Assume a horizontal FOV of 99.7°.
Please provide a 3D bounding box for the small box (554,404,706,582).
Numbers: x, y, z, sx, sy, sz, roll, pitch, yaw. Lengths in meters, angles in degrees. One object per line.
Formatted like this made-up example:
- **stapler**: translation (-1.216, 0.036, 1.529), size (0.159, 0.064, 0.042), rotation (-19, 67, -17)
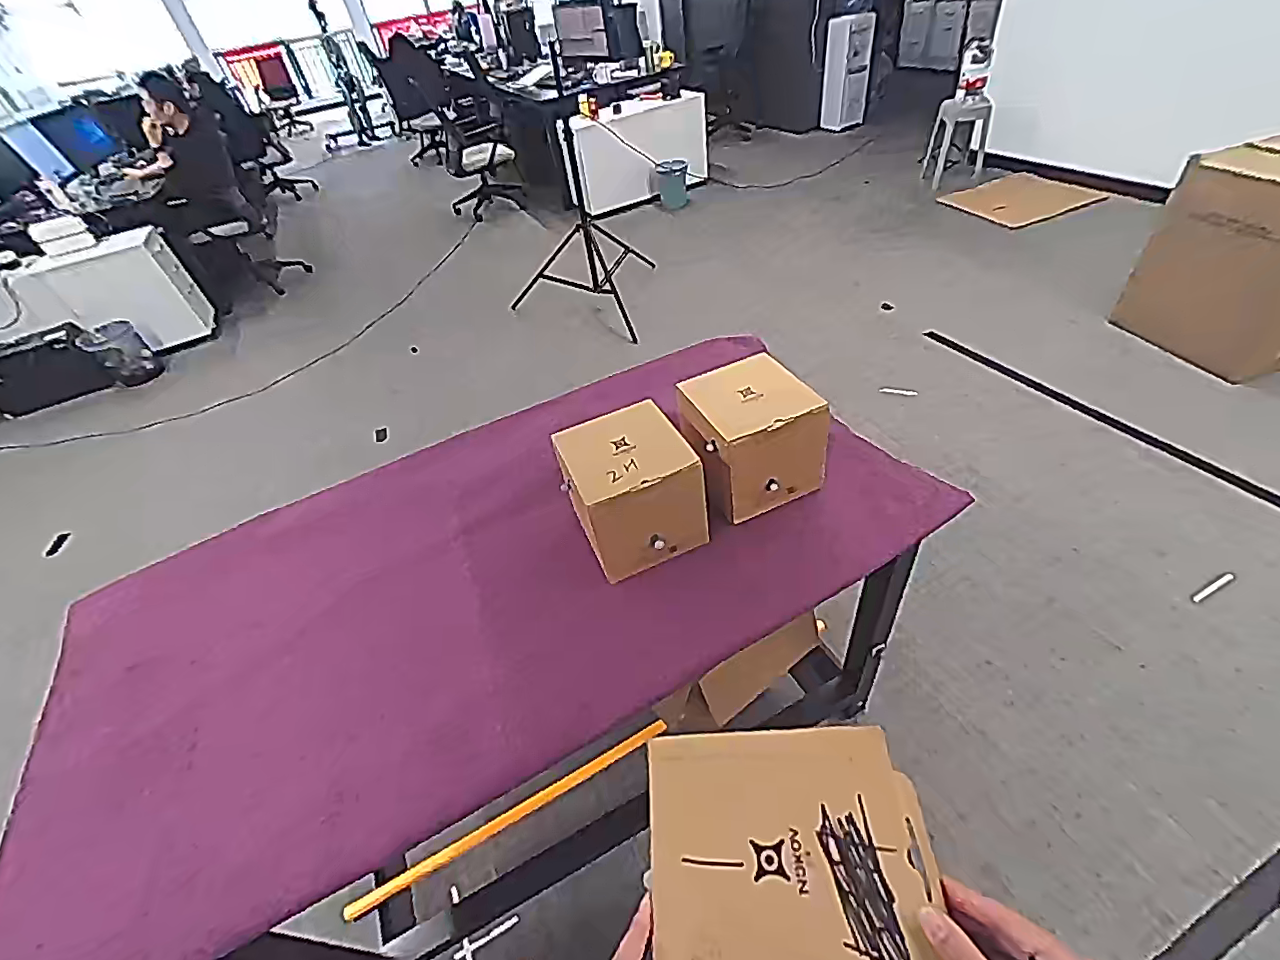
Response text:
- **small box**: translation (-0.014, 0.018, 0.813), size (0.168, 0.176, 0.179), rotation (-22, 44, -11)

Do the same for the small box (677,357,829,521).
- **small box**: translation (0.173, -0.066, 0.862), size (0.168, 0.176, 0.179), rotation (-22, 43, -11)

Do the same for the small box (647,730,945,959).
- **small box**: translation (0.101, 0.304, 0.410), size (0.179, 0.176, 0.168), rotation (-6, 46, 6)
